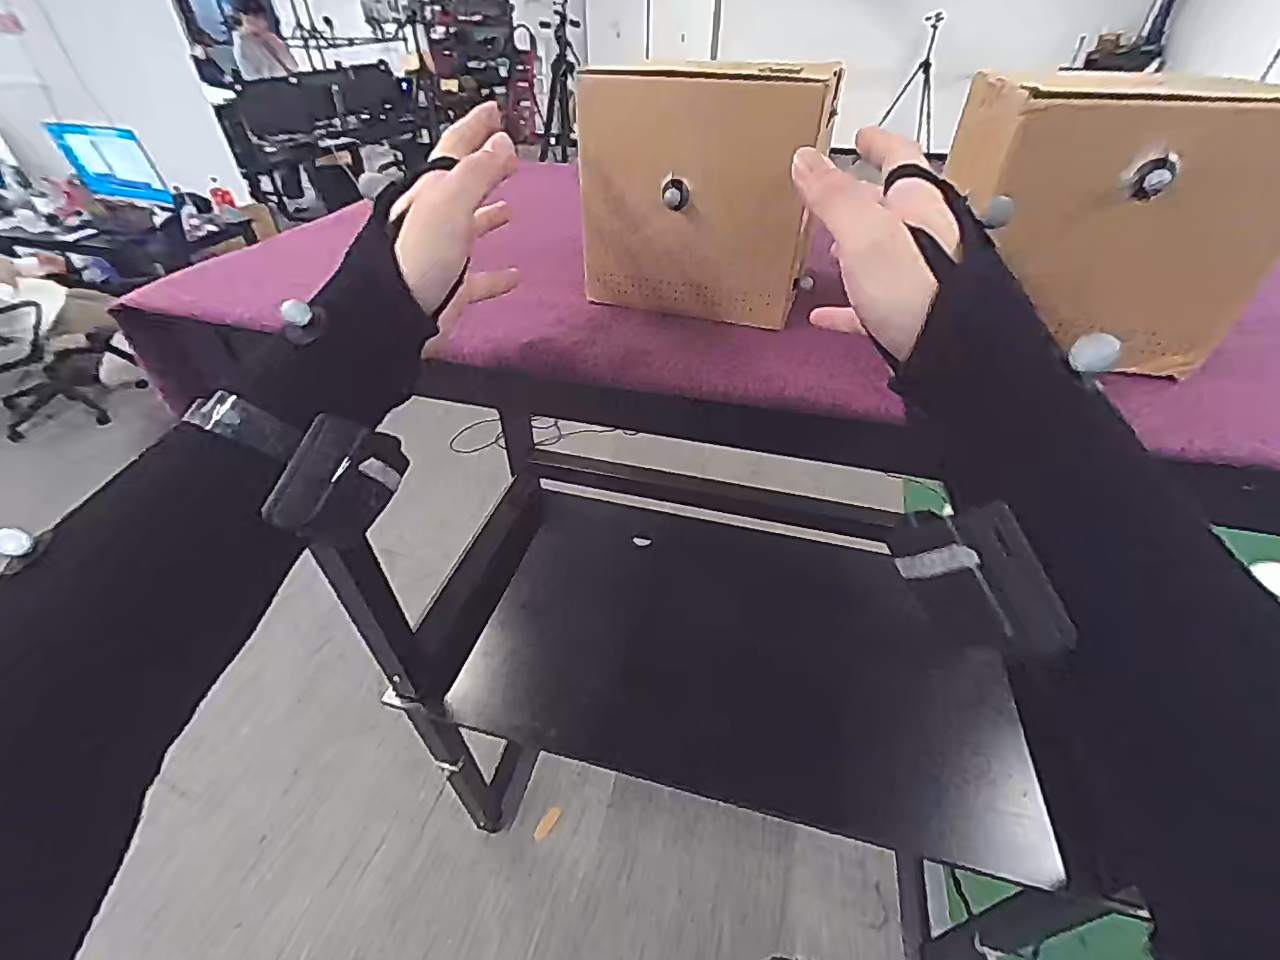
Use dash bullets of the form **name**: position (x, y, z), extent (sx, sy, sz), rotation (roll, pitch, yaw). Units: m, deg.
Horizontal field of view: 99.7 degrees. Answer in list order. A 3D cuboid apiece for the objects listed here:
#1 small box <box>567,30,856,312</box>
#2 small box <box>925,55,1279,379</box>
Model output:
- **small box**: position (0.059, -0.254, 0.443), extent (0.179, 0.176, 0.168), rotation (15, 42, 15)
- **small box**: position (0.320, -0.189, 0.383), extent (0.179, 0.176, 0.168), rotation (13, 42, 12)
